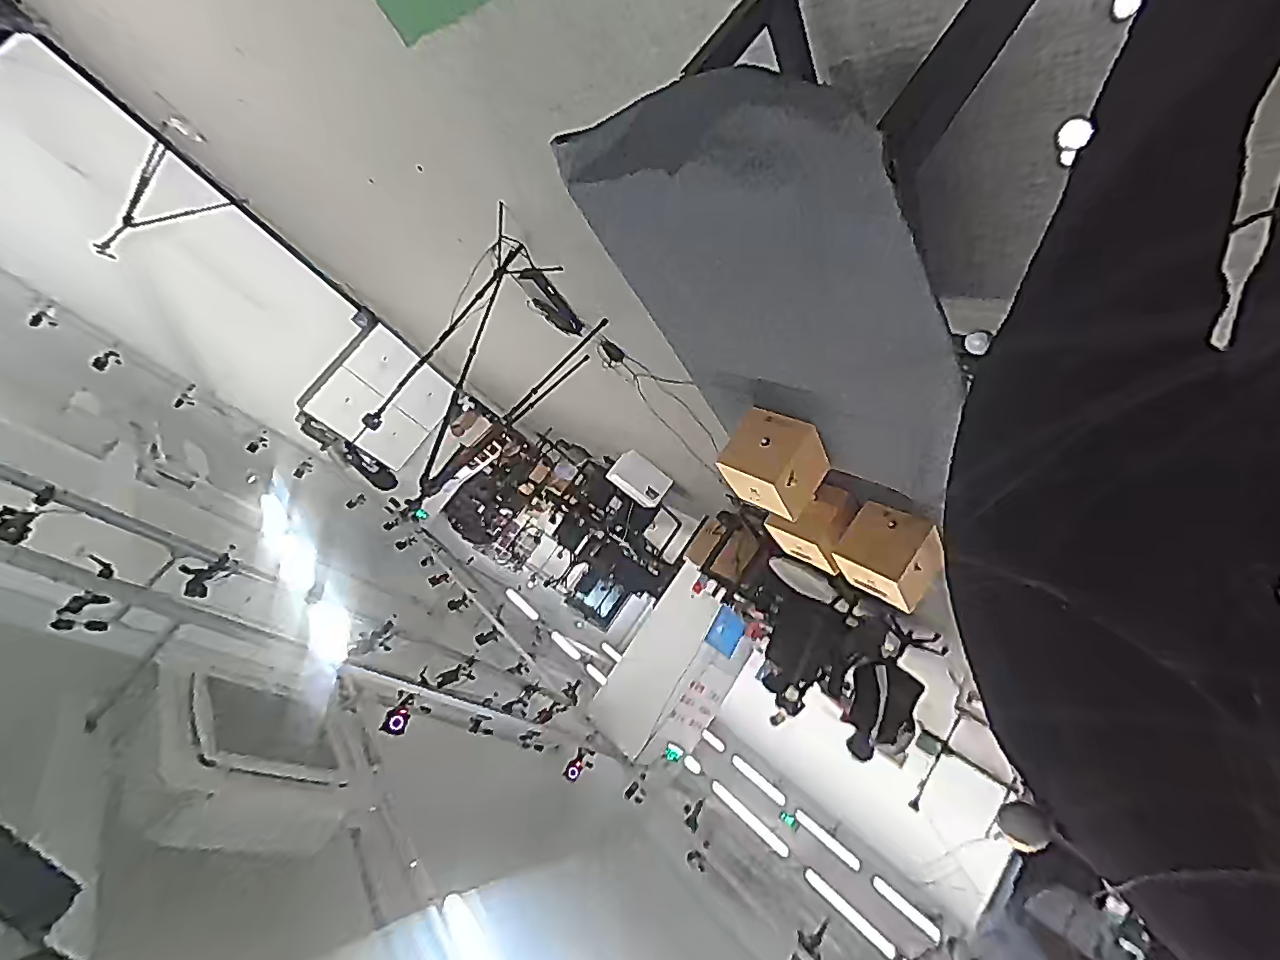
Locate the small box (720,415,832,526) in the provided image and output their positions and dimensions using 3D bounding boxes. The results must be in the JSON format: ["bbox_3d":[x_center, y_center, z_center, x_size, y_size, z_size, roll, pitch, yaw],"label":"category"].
[{"bbox_3d":[0.321,-0.027,1.261,0.168,0.176,0.179,27,165,42],"label":"small box"}]
